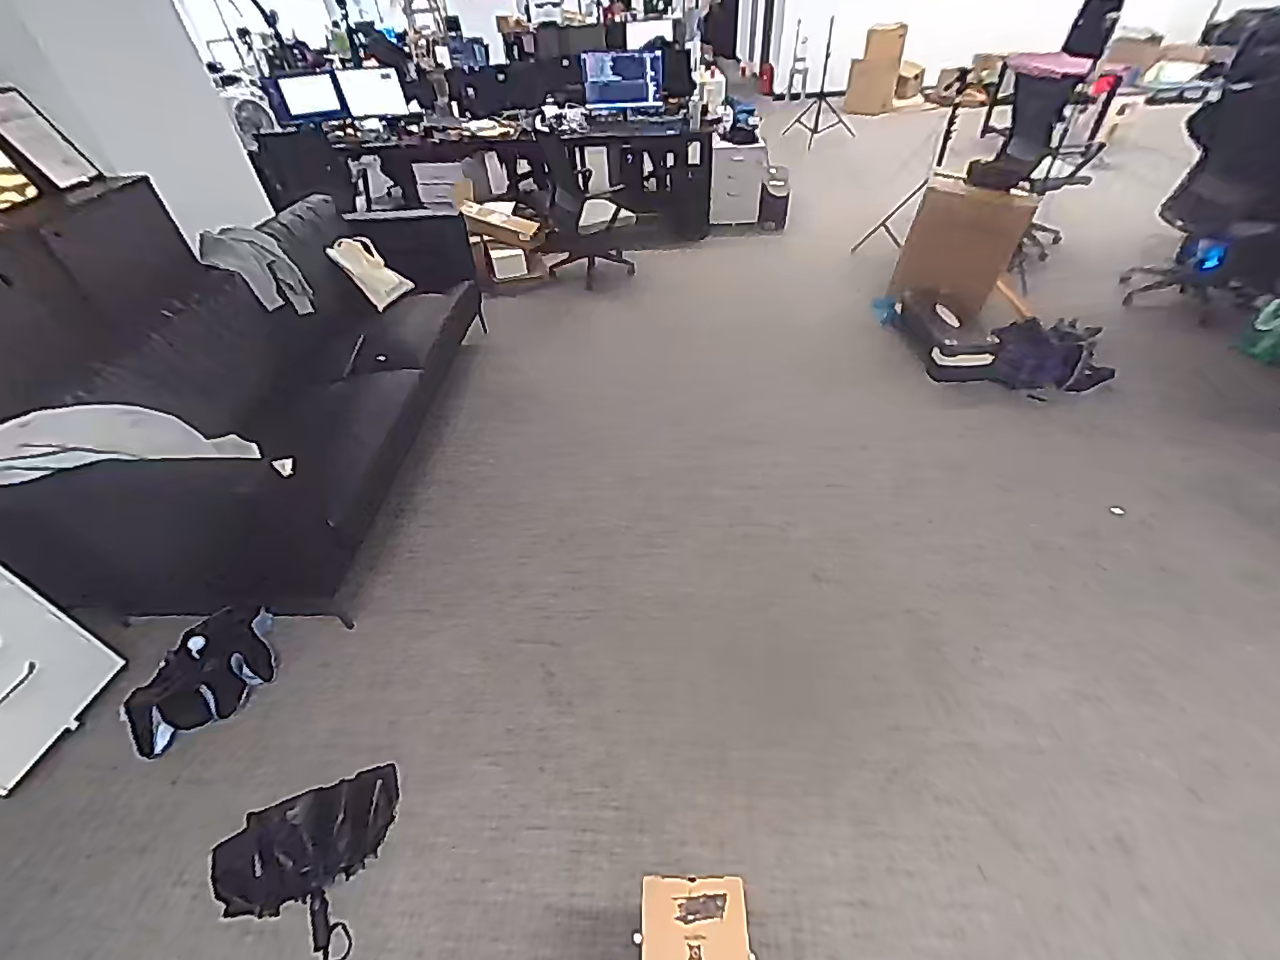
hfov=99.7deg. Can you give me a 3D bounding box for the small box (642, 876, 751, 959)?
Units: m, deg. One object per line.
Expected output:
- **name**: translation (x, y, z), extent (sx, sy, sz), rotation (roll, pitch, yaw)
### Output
- **small box**: translation (0.086, 0.763, 0.873), extent (0.168, 0.176, 0.179), rotation (-1, 46, 2)
